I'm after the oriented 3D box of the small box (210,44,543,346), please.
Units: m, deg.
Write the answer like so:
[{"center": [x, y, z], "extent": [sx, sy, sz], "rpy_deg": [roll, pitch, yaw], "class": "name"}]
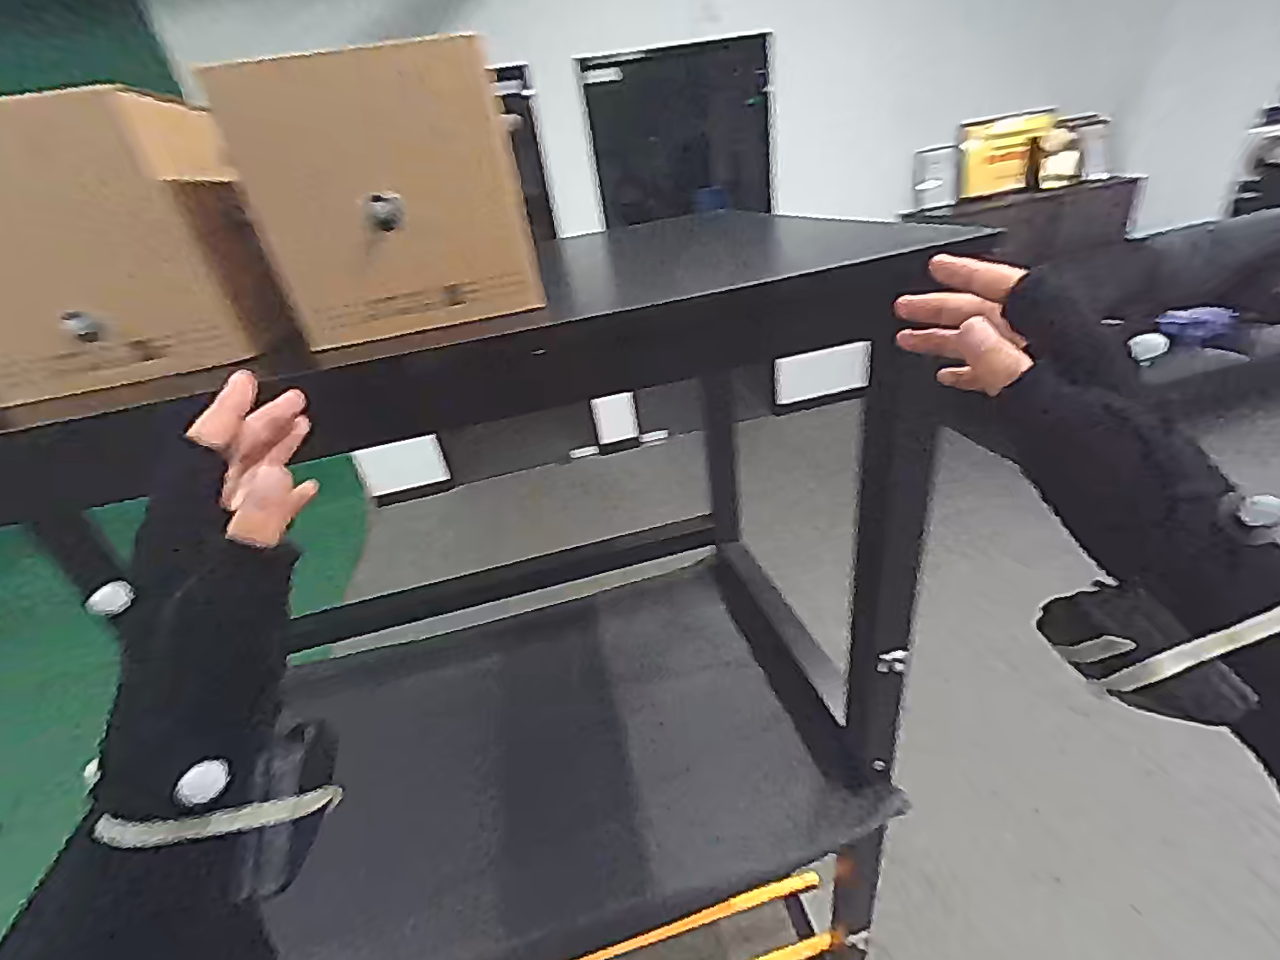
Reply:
[{"center": [-0.179, -0.215, 0.433], "extent": [0.168, 0.176, 0.179], "rpy_deg": [-13, 29, -8], "class": "small box"}]
